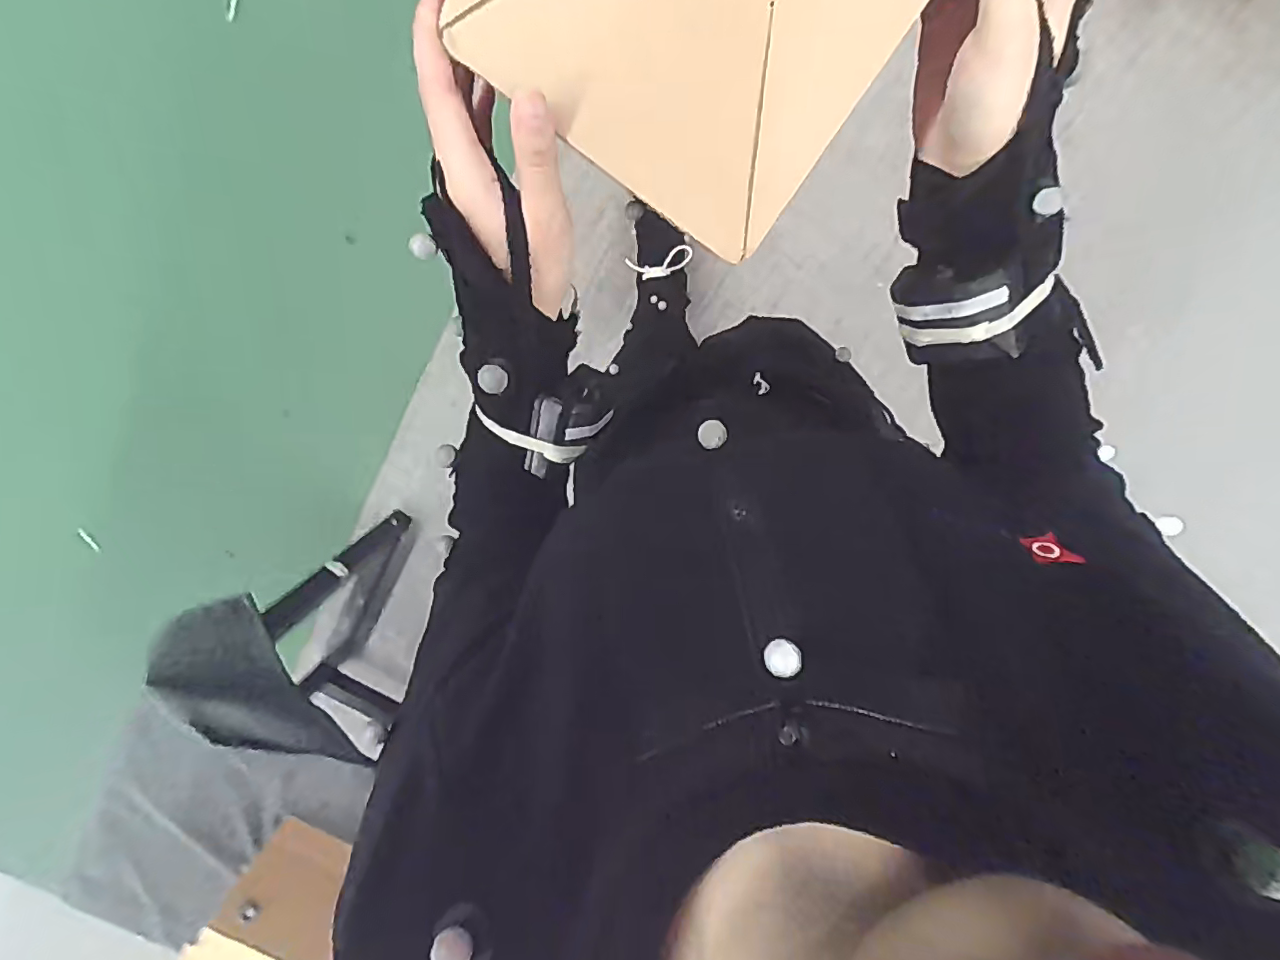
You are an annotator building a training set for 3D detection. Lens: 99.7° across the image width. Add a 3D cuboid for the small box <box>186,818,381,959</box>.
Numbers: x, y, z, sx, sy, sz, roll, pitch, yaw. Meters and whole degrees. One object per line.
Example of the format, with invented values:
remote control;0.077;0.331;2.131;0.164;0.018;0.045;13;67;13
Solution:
small box;-0.532;0.660;0.819;0.179;0.176;0.168;31;109;-6
